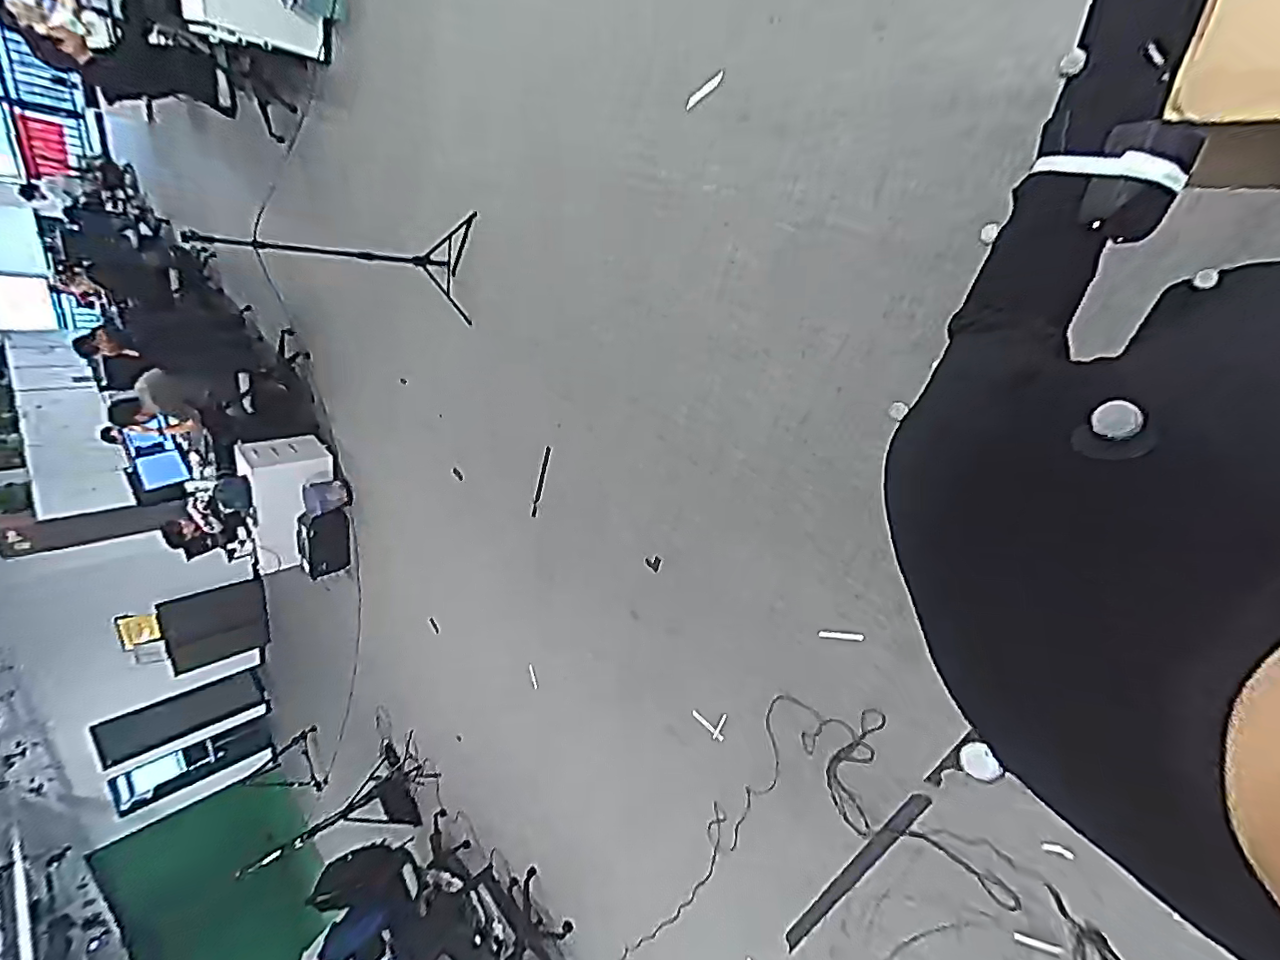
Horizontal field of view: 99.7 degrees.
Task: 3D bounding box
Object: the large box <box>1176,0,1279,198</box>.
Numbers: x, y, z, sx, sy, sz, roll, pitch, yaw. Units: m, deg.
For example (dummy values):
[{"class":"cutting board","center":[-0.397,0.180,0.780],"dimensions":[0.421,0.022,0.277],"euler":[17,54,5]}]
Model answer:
[{"class":"large box","center":[0.618,-0.348,0.293],"dimensions":[0.408,0.320,0.320],"euler":[25,120,38]}]
